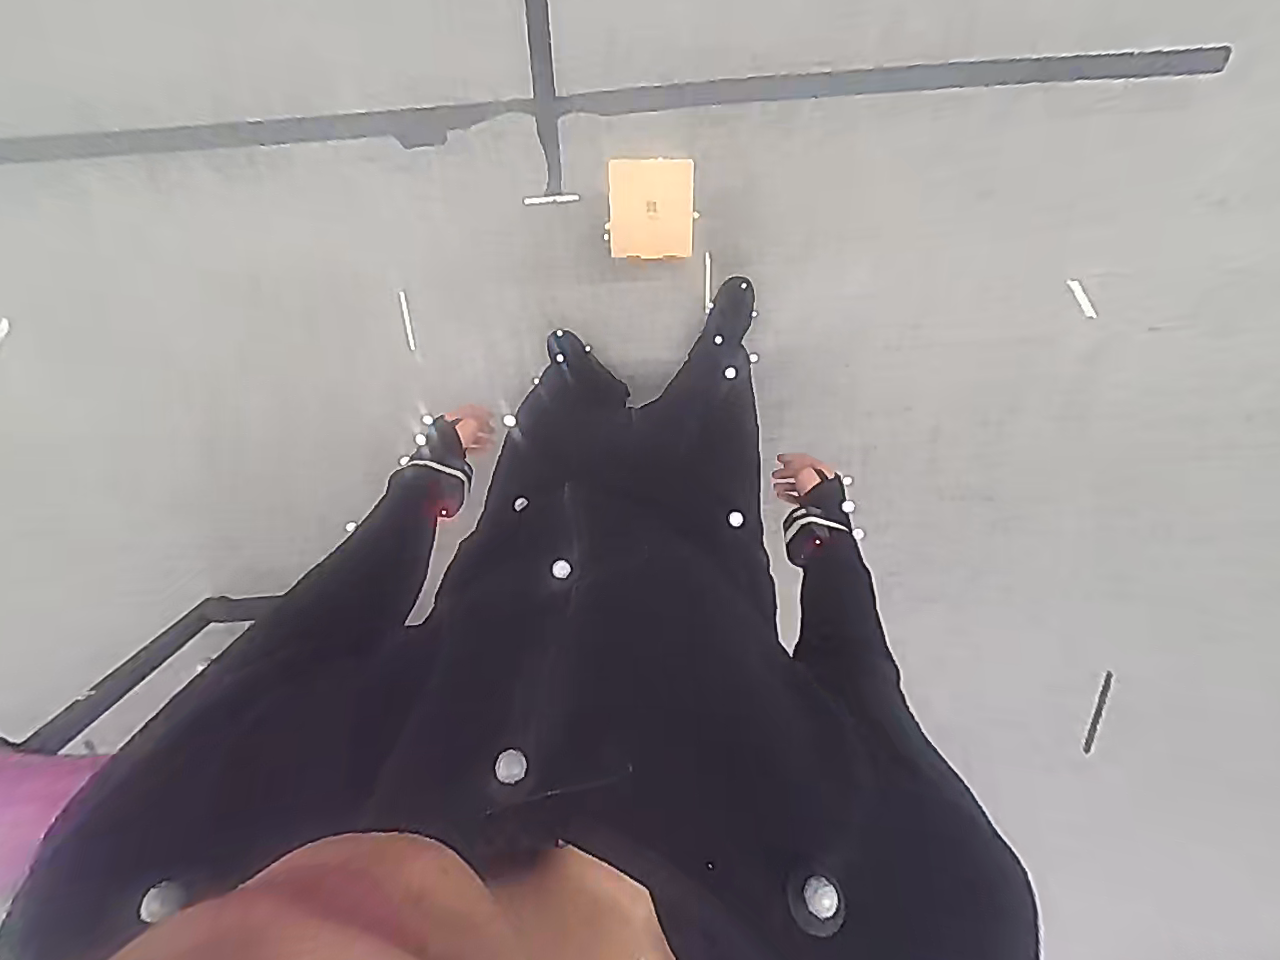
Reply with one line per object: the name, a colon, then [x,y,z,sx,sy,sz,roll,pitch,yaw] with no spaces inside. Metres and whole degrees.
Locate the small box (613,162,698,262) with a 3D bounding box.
small box: [0.027,-0.556,1.139,0.168,0.176,0.179,-2,113,-1]
